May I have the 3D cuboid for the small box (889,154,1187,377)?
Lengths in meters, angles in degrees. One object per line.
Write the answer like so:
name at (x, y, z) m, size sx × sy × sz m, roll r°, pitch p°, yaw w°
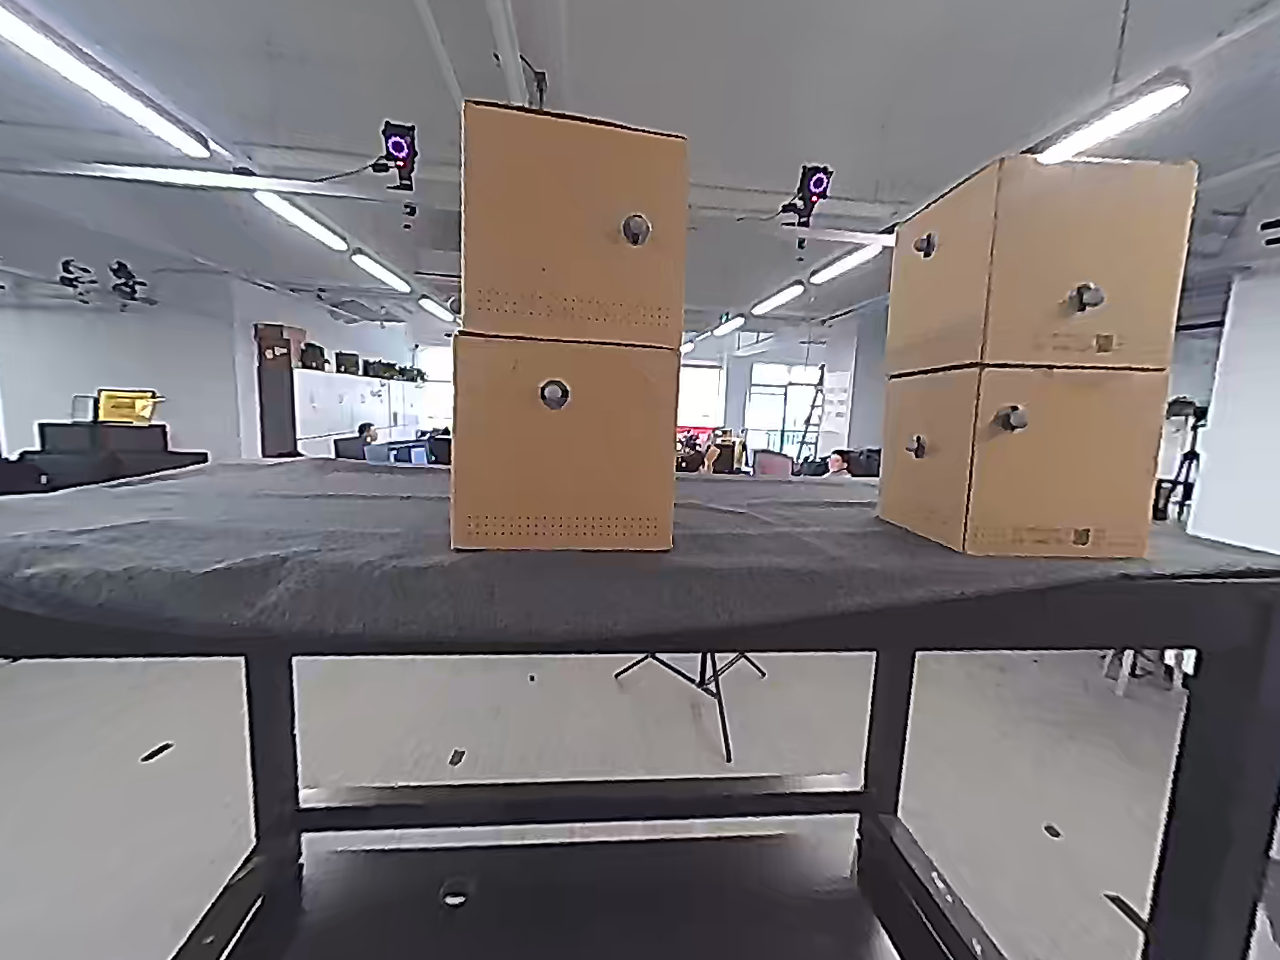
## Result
small box at (0.366, -0.191, 0.535) m, size 0.168 × 0.176 × 0.179 m, roll 0°, pitch 7°, yaw -2°

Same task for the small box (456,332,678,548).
small box at (-0.067, -0.035, 0.504) m, size 0.179 × 0.176 × 0.168 m, roll 2°, pitch 6°, yaw -9°

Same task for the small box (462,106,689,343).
small box at (-0.065, -0.197, 0.495) m, size 0.179 × 0.176 × 0.168 m, roll 0°, pitch 6°, yaw -14°
